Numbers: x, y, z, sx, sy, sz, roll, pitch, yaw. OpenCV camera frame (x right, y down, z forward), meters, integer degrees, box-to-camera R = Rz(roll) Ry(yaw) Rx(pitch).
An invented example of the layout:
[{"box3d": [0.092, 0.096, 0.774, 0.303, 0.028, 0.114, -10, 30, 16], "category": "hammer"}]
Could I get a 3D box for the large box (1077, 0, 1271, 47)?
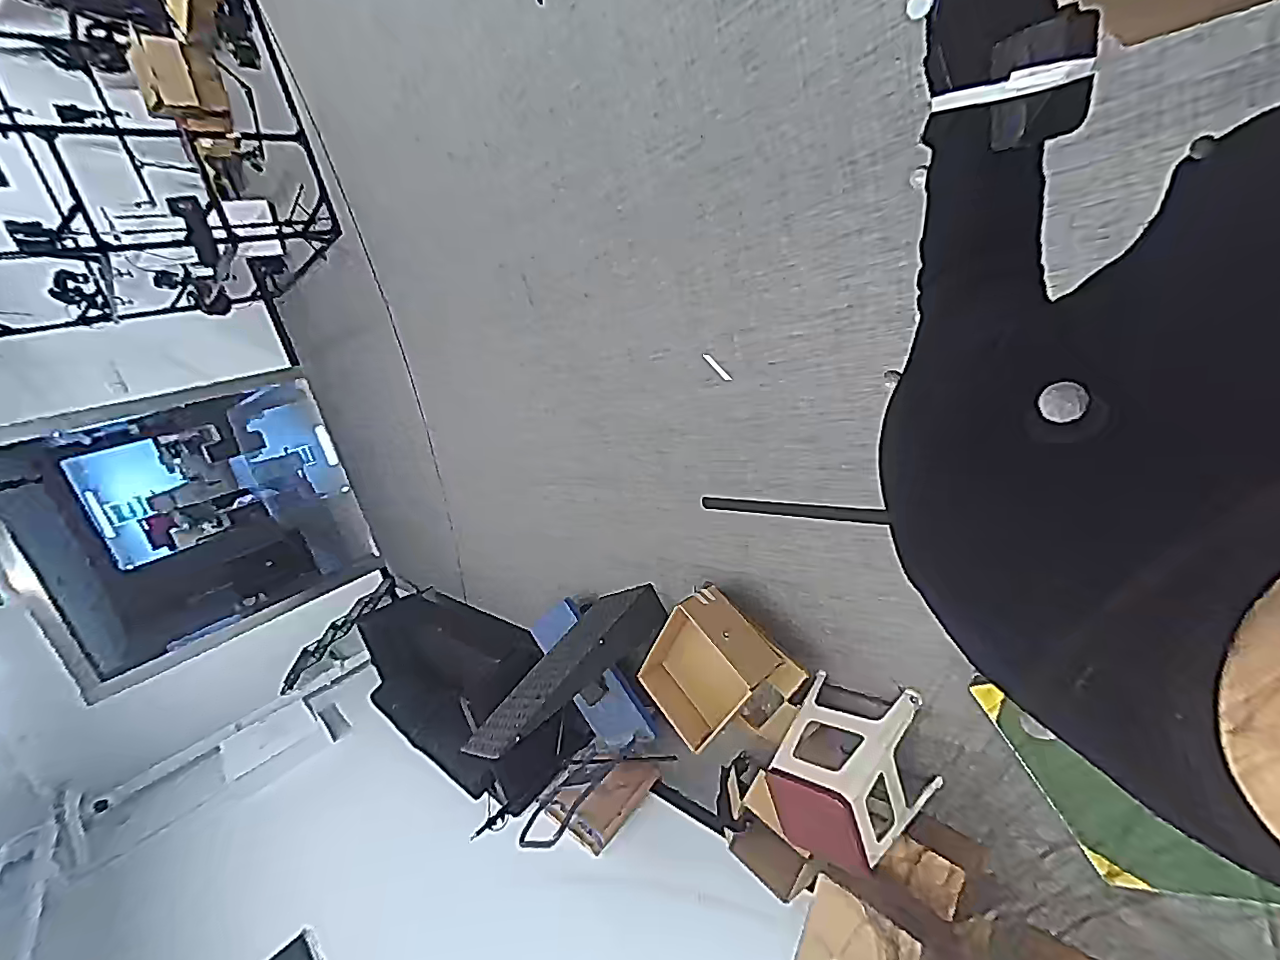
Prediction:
[{"box3d": [0.446, -0.462, 0.218, 0.408, 0.320, 0.320, 11, 119, 45], "category": "large box"}]
